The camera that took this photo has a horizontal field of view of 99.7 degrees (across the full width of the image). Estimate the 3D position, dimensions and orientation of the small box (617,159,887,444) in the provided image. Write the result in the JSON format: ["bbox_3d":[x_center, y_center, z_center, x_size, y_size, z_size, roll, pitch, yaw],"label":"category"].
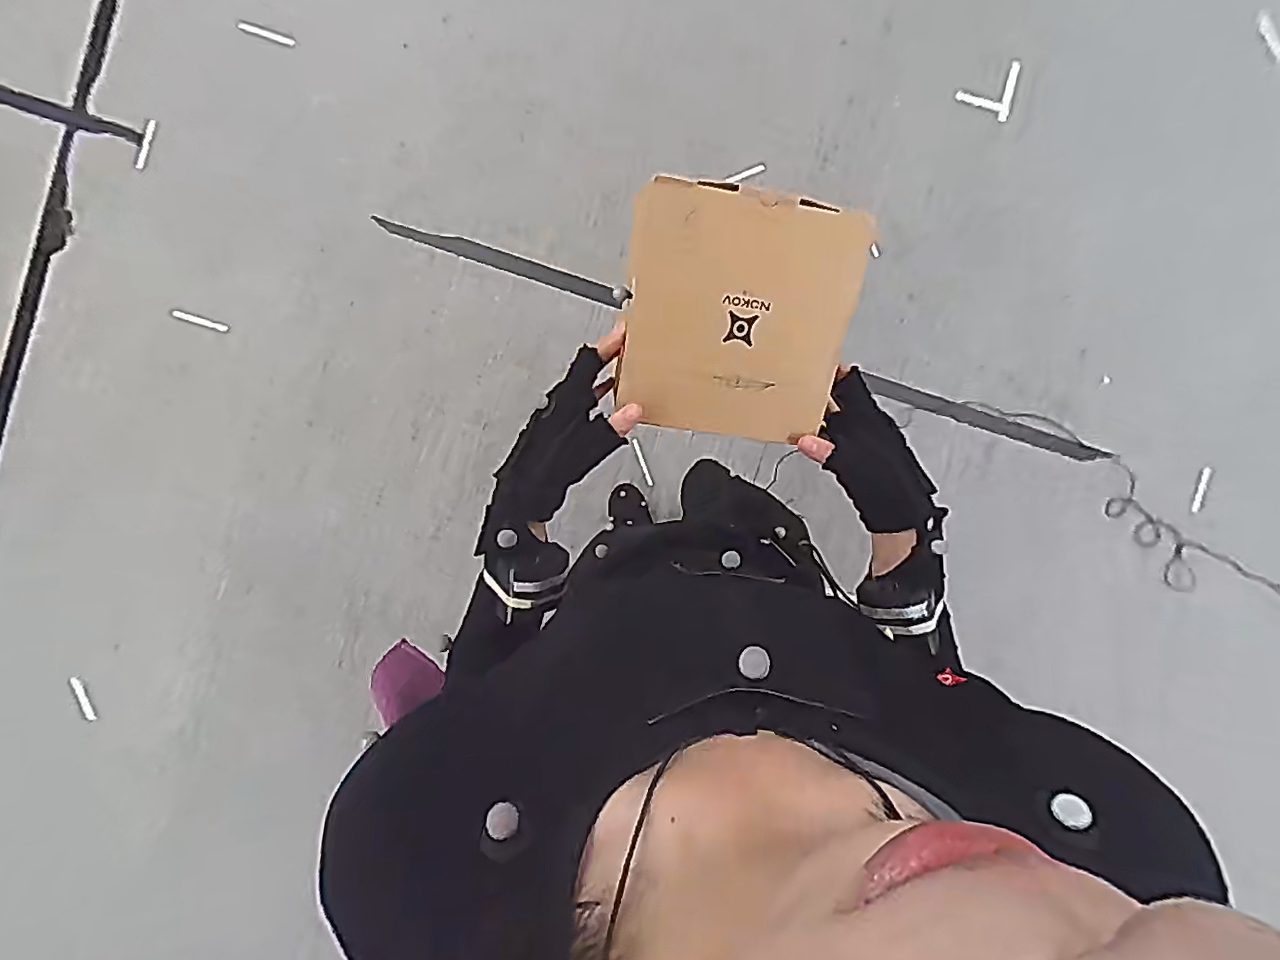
[{"bbox_3d":[0.074,-0.149,0.471,0.168,0.176,0.179,9,111,-7],"label":"small box"}]
